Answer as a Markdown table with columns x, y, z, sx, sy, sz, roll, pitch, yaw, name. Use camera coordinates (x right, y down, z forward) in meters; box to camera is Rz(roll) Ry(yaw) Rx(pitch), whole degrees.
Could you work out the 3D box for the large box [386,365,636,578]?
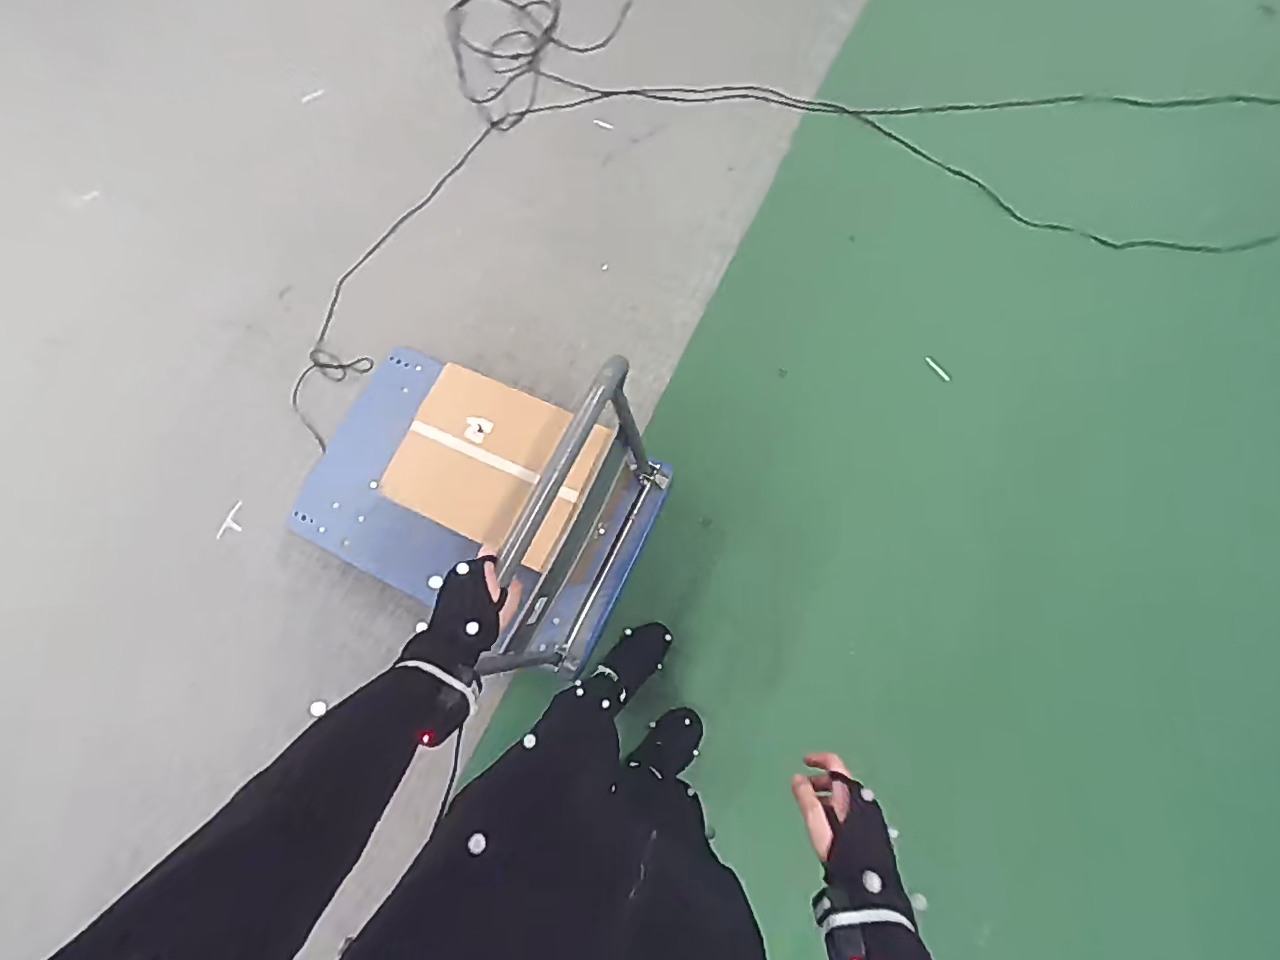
| x | y | z | sx | sy | sz | roll | pitch | yaw | name |
| --- | --- | --- | --- | --- | --- | --- | --- | --- | --- |
| -0.260 | 0.000 | 1.226 | 0.408 | 0.320 | 0.320 | 24 | 79 | 10 | large box |
